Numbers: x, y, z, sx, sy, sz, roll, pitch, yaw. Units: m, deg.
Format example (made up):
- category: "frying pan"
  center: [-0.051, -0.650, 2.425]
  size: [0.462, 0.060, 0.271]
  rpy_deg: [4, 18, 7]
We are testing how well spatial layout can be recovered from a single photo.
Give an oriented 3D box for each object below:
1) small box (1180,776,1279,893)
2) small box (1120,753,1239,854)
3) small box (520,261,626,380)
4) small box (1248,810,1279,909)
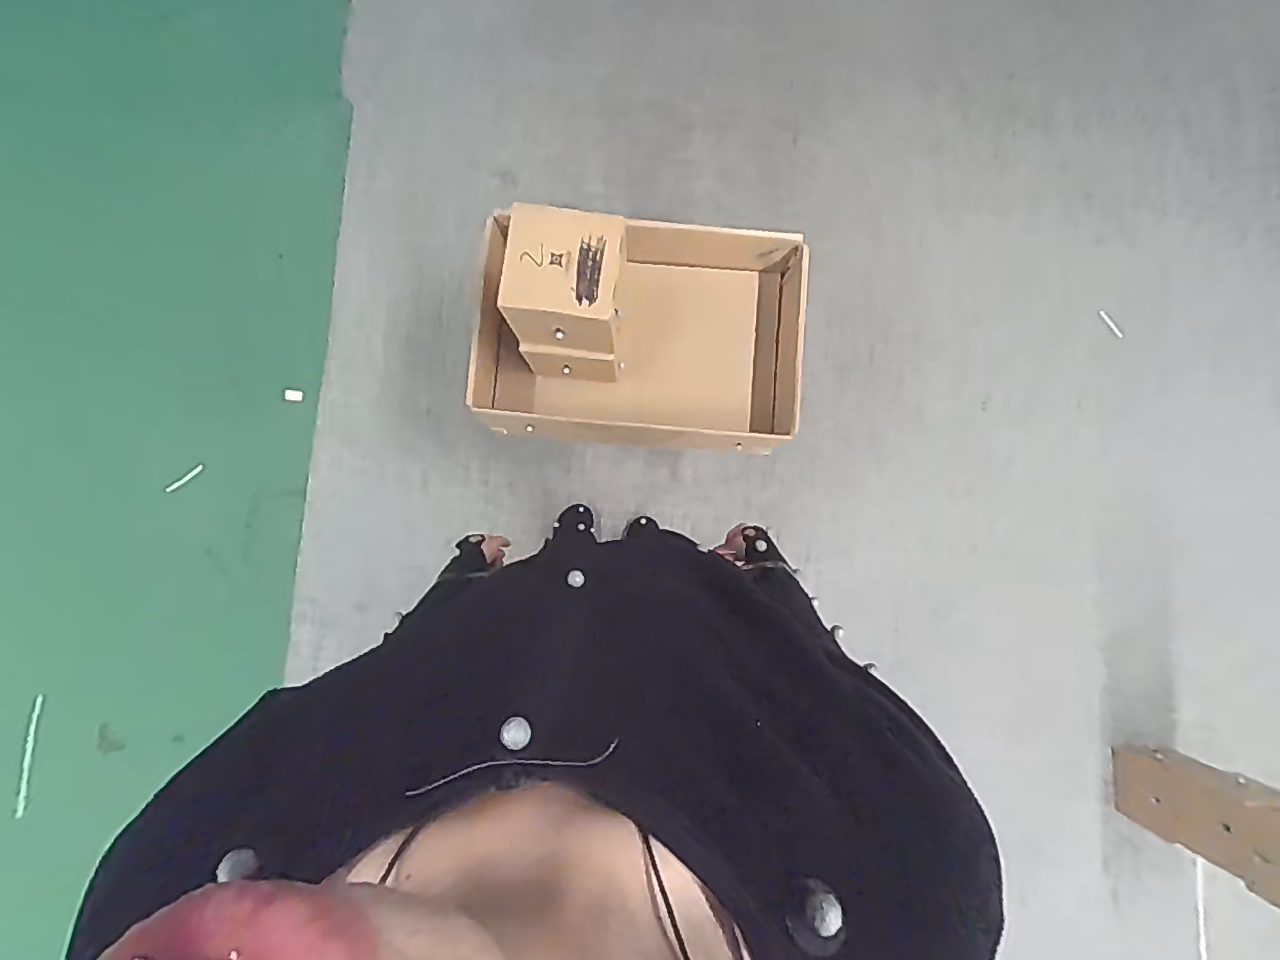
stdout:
- category: "small box"
  center: [1.384, 0.798, 1.226]
  size: [0.168, 0.176, 0.179]
  rpy_deg: [3, 84, 1]
- category: "small box"
  center: [1.382, 0.824, 1.388]
  size: [0.168, 0.176, 0.179]
  rpy_deg: [3, 85, 0]
- category: "small box"
  center: [-0.122, -0.300, 1.051]
  size: [0.179, 0.176, 0.168]
  rpy_deg: [6, 85, 0]
- category: "small box"
  center: [1.370, 0.785, 1.063]
  size: [0.168, 0.176, 0.179]
  rpy_deg: [1, 85, 0]
